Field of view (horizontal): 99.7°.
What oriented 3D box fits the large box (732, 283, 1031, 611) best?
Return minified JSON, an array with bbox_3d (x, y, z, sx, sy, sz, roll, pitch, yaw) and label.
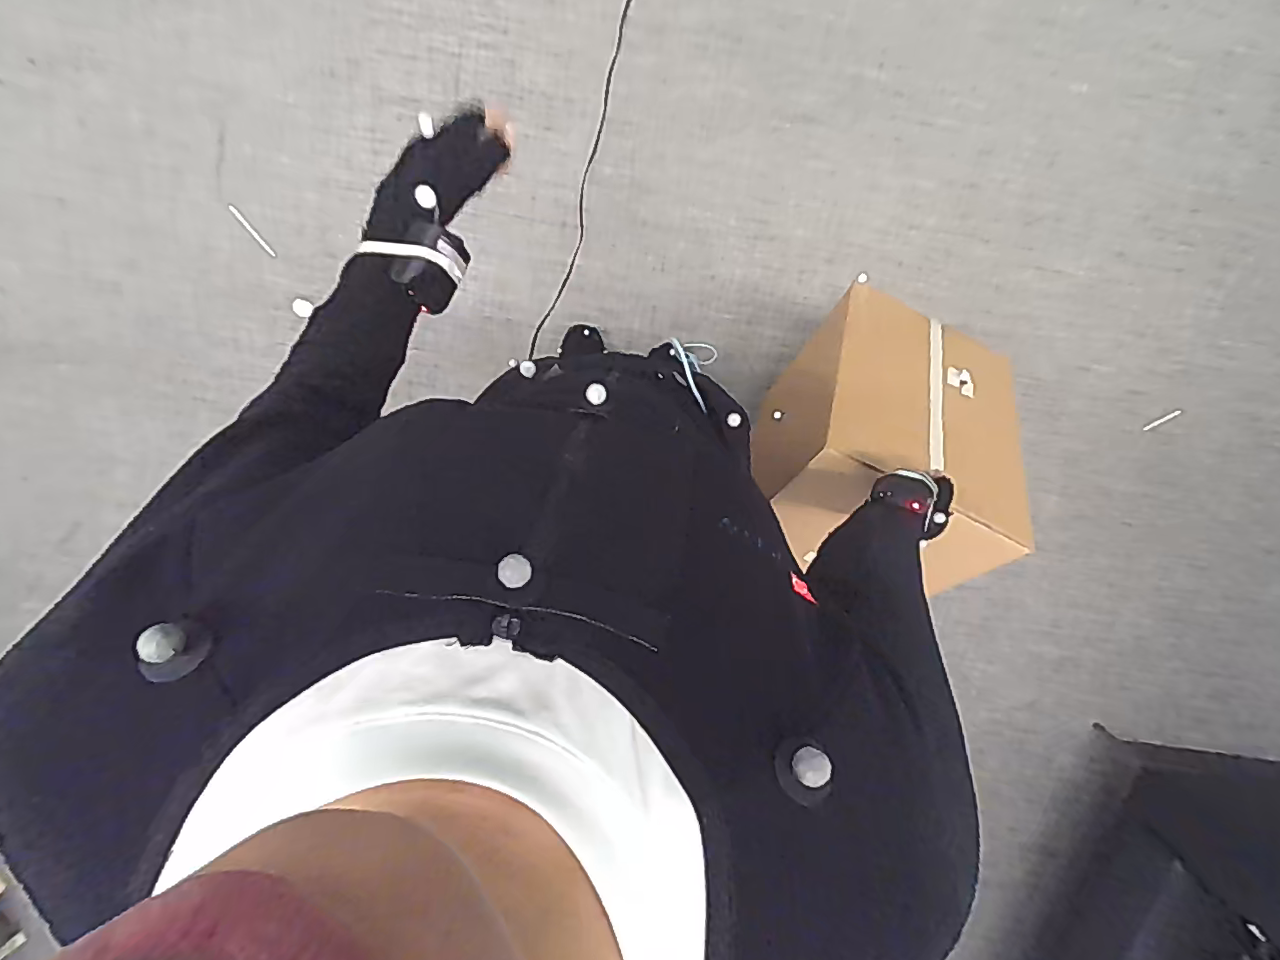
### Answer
[{"bbox_3d":[0.392,-0.049,0.935,0.320,0.408,0.320,27,143,-4],"label":"large box"}]
